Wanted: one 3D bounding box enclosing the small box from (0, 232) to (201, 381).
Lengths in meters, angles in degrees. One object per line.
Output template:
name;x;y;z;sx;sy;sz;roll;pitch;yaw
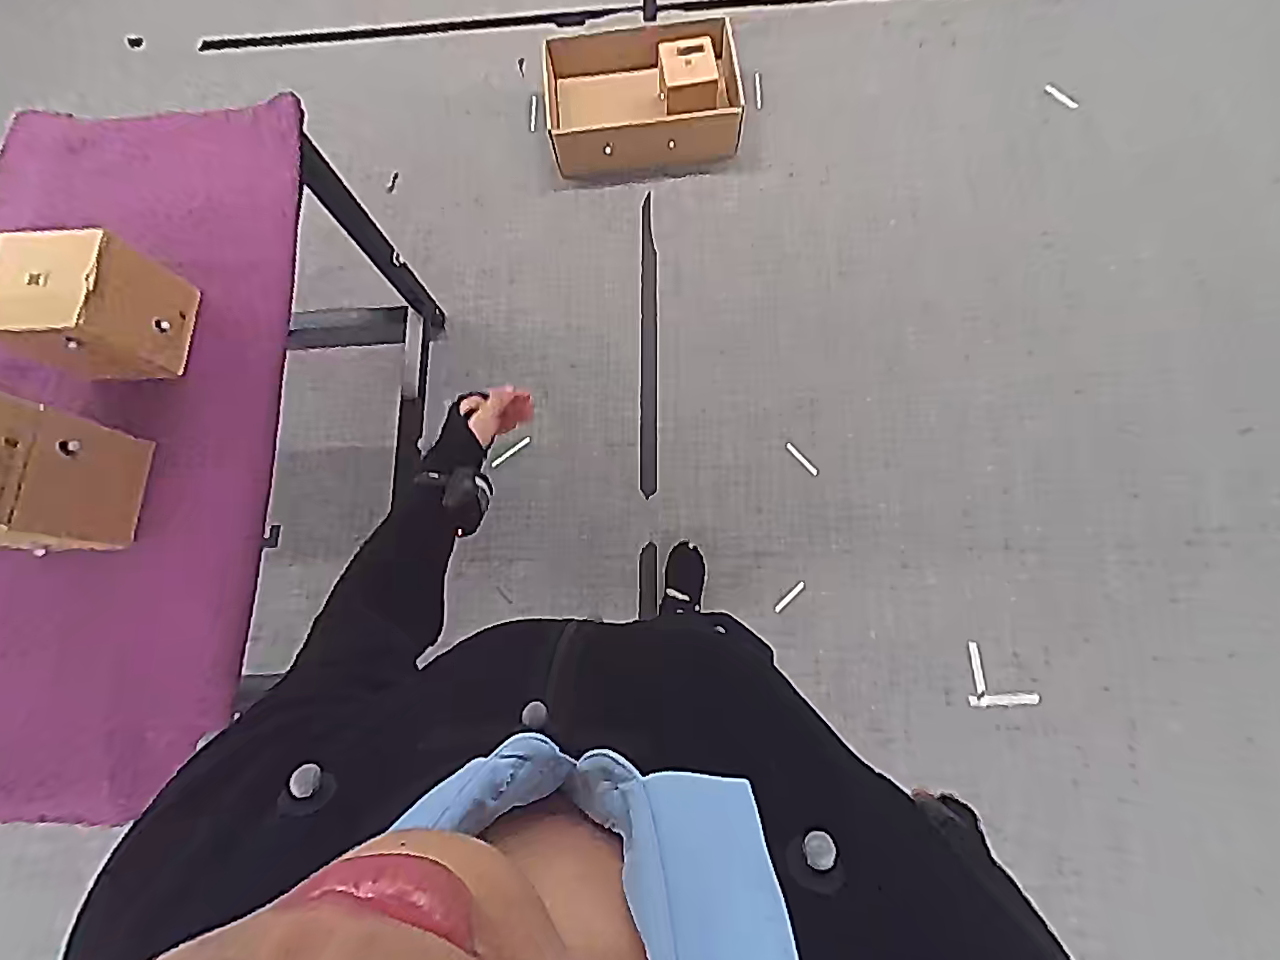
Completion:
small box;-0.865;-0.266;0.861;0.179;0.176;0.168;-1;75;4

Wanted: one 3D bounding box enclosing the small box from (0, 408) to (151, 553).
small box;-0.877;0.007;0.790;0.168;0.176;0.179;-1;75;4

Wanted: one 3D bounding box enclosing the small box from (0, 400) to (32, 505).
small box;-0.895;-0.034;0.632;0.179;0.176;0.168;-3;75;4
